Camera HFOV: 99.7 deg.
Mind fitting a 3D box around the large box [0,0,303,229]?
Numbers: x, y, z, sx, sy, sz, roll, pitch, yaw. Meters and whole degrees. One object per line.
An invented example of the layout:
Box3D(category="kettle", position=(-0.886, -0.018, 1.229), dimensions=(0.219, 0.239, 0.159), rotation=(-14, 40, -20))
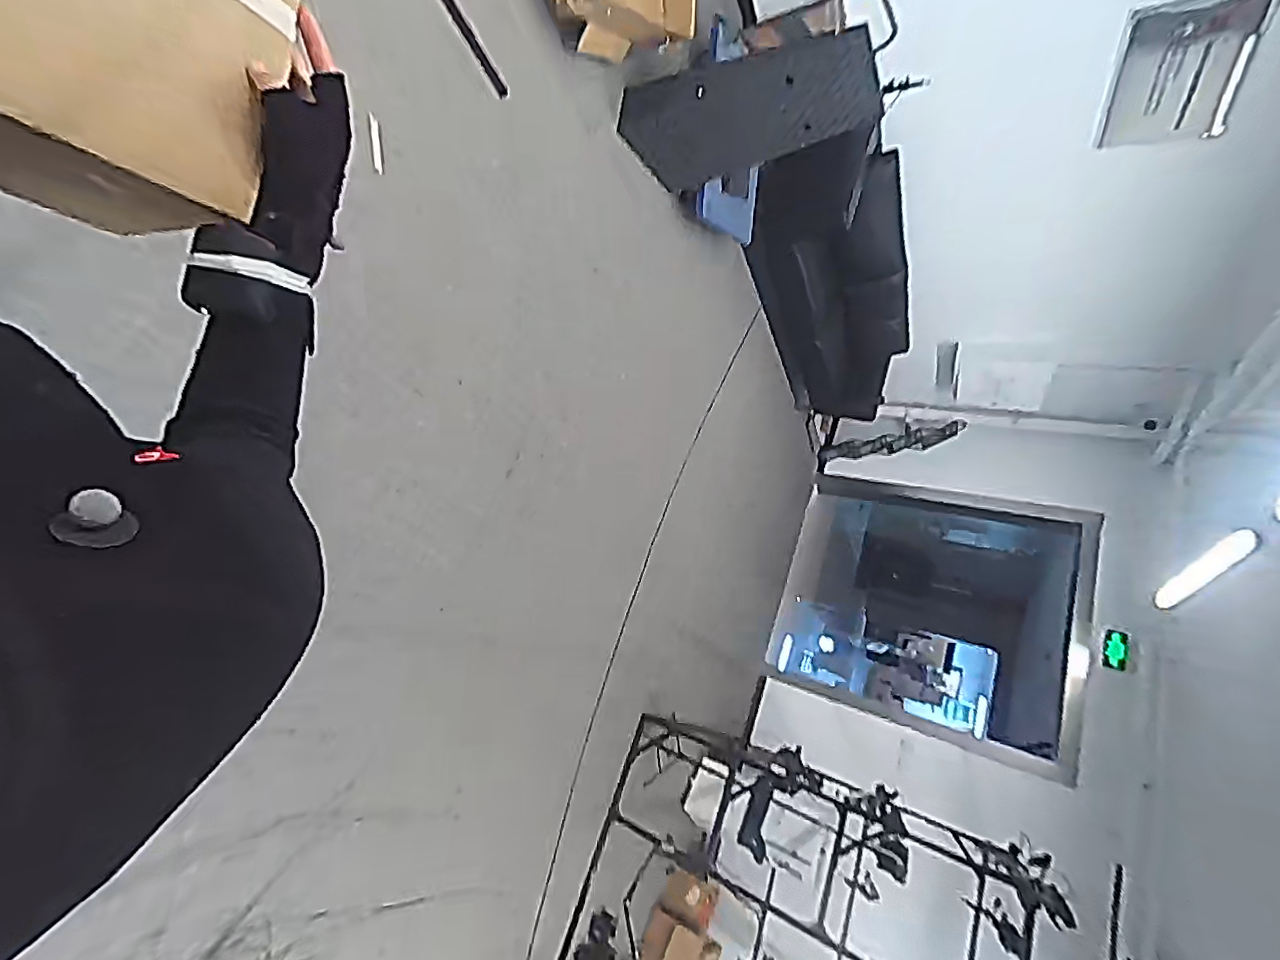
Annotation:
Box3D(category="large box", position=(-0.504, -0.410, 0.344), dimensions=(0.408, 0.320, 0.320), rotation=(14, 91, -58))
